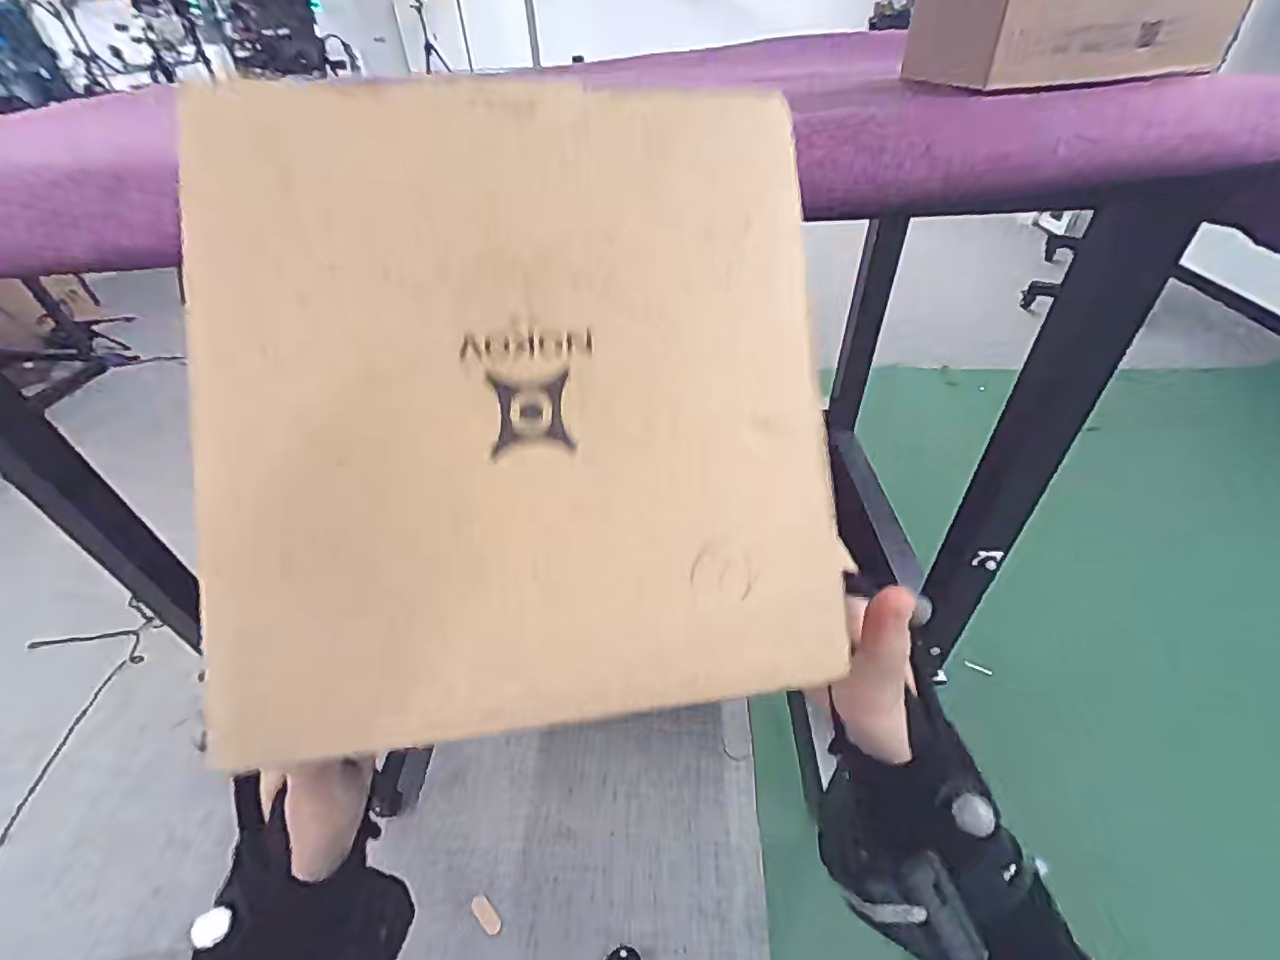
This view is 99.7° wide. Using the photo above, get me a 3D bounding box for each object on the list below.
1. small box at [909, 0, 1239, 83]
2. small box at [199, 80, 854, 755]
[{"bbox_3d":[0.331,-0.409,0.406,0.168,0.176,0.179,-2,39,2],"label":"small box"},{"bbox_3d":[-0.037,-0.019,0.226,0.168,0.176,0.179,-5,86,-8],"label":"small box"}]
